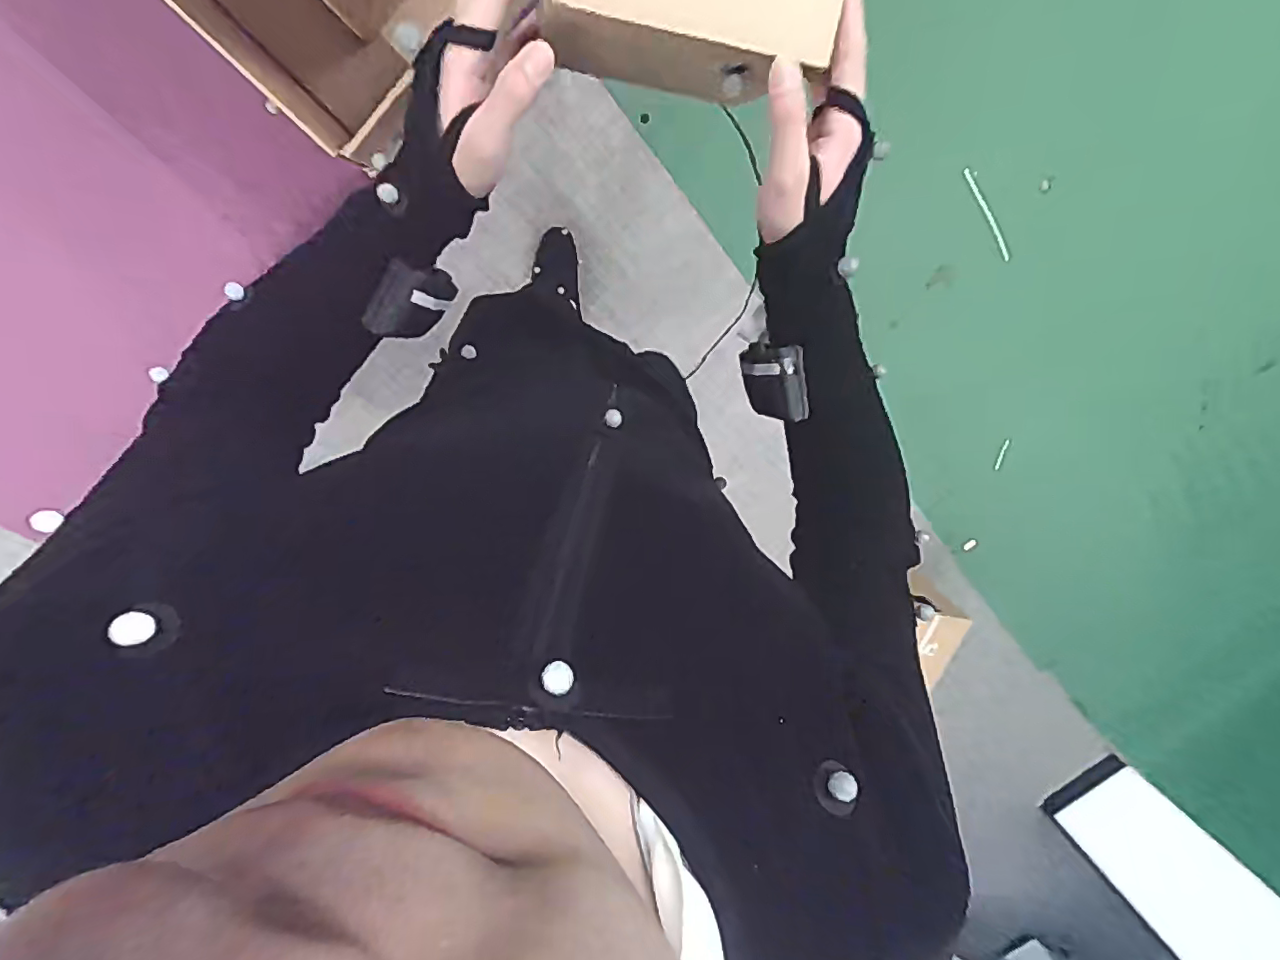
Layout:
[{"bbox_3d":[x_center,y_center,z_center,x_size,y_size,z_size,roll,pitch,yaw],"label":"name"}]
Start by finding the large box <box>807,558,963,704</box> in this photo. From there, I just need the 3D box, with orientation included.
[{"bbox_3d":[0.879,0.555,1.998,0.320,0.320,0.408,11,110,-16],"label":"large box"}]

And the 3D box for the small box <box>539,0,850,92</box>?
[{"bbox_3d":[0.032,-0.367,0.344,0.179,0.176,0.168,2,117,-14],"label":"small box"}]
